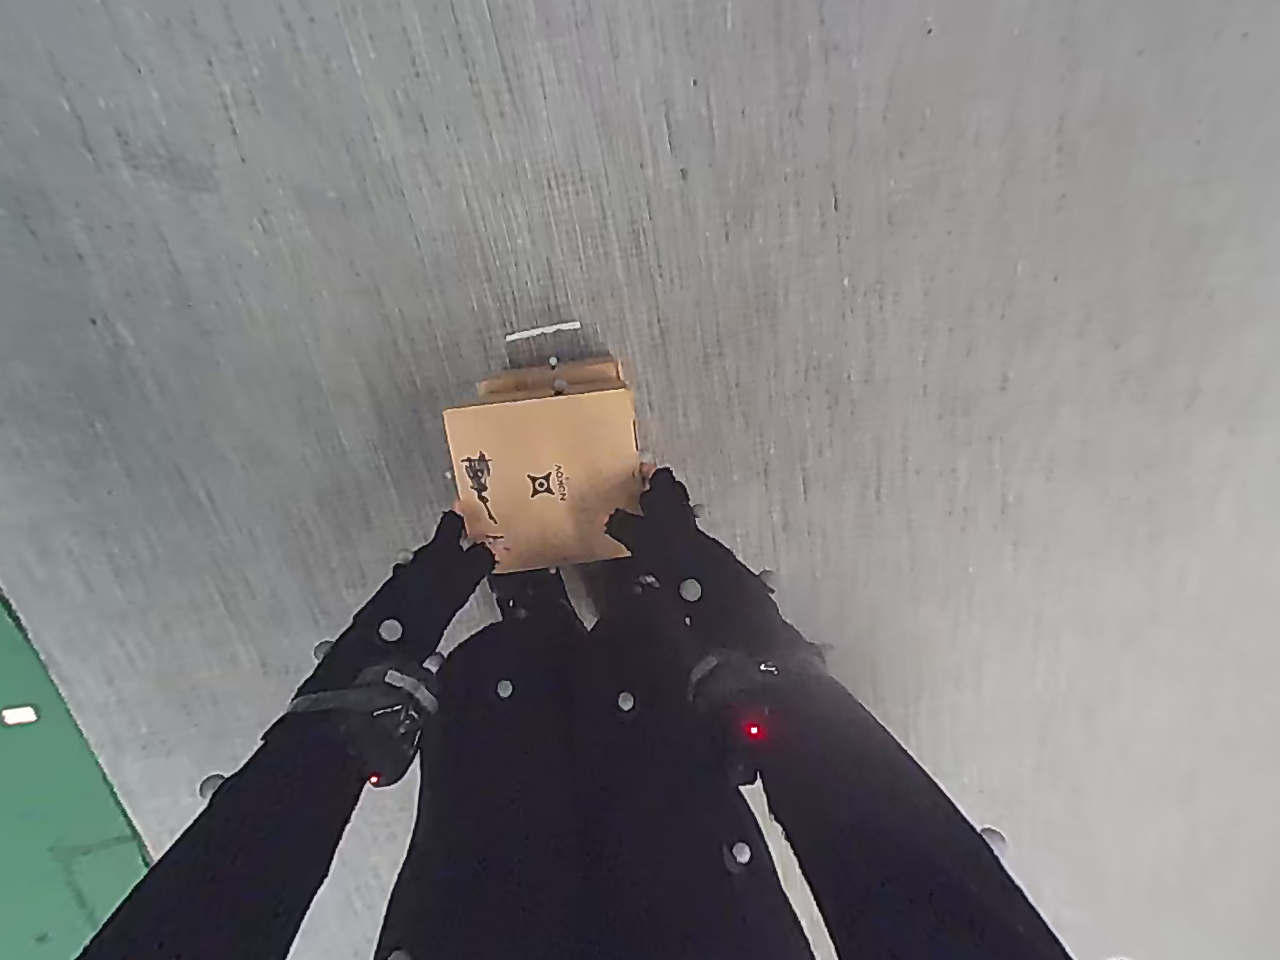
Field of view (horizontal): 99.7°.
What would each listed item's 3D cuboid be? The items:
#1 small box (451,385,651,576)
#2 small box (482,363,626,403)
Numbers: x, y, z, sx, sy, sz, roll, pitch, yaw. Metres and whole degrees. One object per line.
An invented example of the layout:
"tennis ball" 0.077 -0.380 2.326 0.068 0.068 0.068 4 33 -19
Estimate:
"small box" -0.088 -0.011 0.594 0.179 0.176 0.168 -6 103 -3
"small box" -0.103 -0.067 0.755 0.179 0.176 0.168 -9 105 -2
